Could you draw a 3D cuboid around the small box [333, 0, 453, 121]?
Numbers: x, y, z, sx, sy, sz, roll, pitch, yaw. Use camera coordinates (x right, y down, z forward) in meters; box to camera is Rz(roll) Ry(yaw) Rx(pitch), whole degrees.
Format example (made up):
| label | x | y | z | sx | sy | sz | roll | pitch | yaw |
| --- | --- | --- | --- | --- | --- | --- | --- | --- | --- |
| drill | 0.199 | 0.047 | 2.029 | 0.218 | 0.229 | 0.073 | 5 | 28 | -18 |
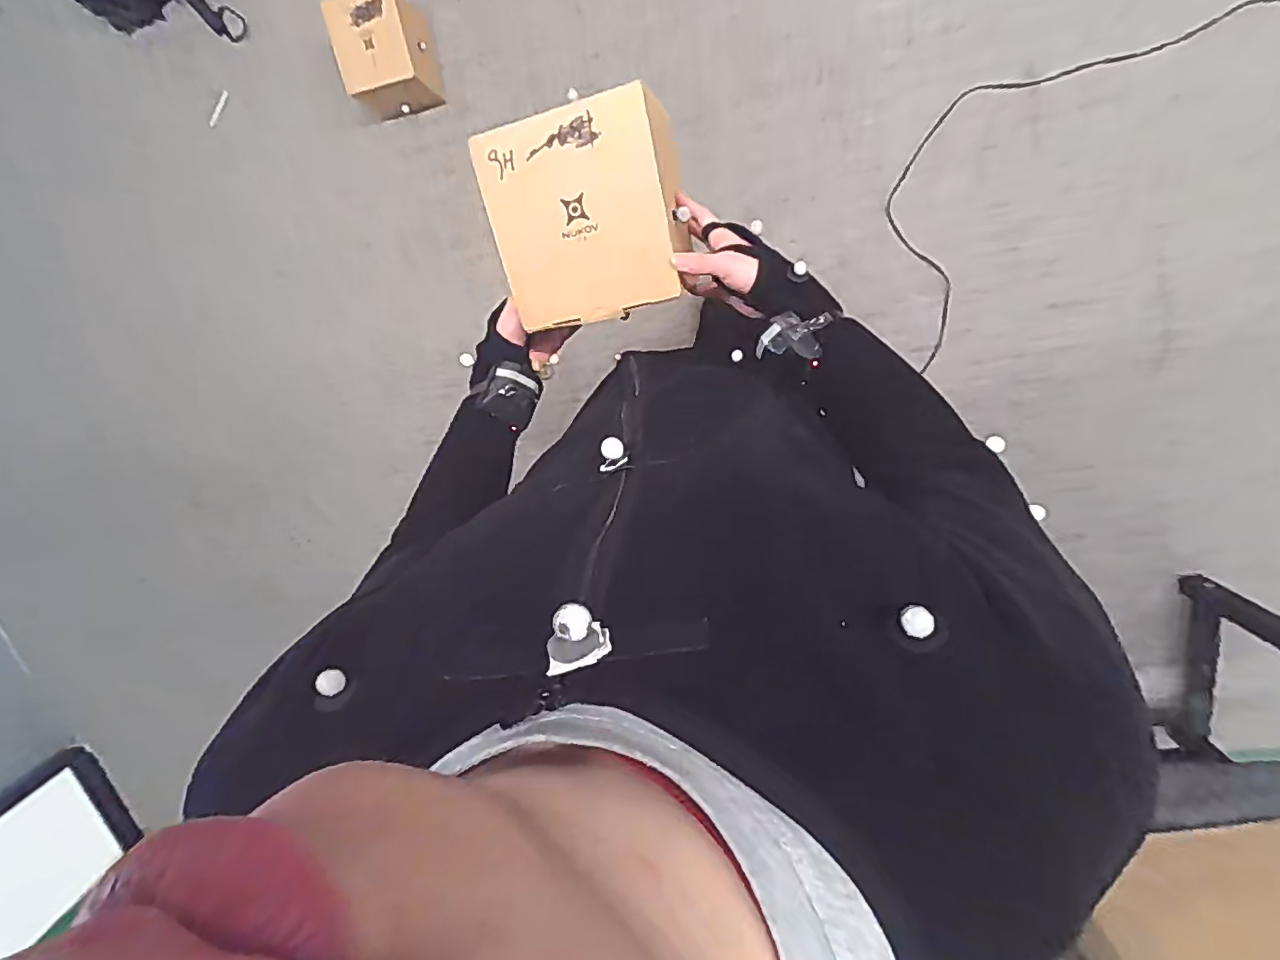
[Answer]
| label | x | y | z | sx | sy | sz | roll | pitch | yaw |
| --- | --- | --- | --- | --- | --- | --- | --- | --- | --- |
| small box | -0.562 | -0.973 | 1.257 | 0.168 | 0.176 | 0.179 | -8 | 108 | 9 |
